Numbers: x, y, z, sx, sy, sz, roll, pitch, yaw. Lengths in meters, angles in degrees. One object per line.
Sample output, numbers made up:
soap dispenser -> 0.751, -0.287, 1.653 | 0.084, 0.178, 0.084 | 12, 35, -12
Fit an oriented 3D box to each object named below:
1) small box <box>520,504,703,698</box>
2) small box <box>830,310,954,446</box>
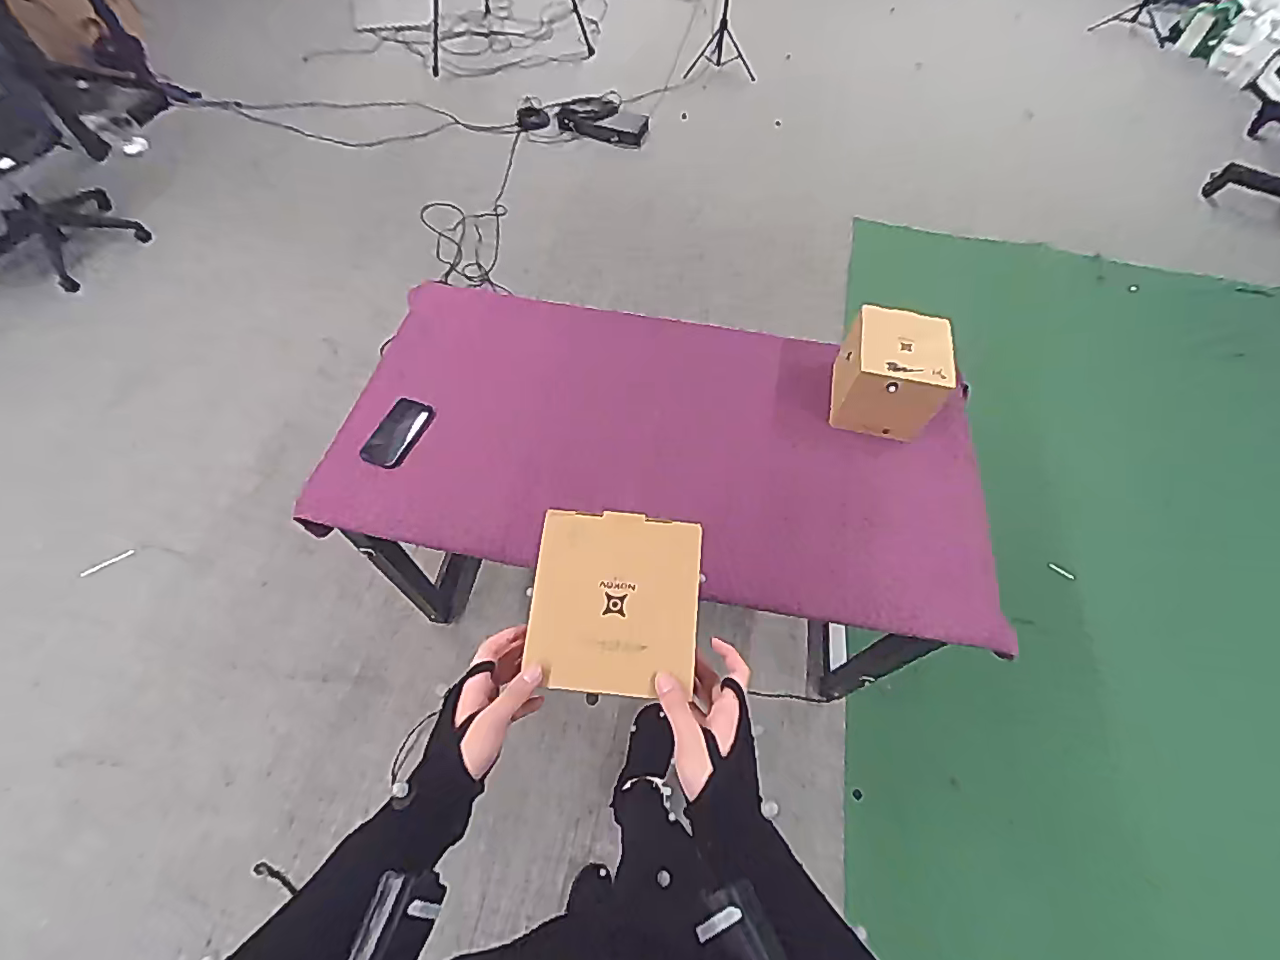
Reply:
small box -> -0.027, 0.142, 0.609 | 0.168, 0.176, 0.179 | 6, 70, 1
small box -> 0.478, -0.195, 1.048 | 0.168, 0.176, 0.179 | 12, 58, 6
